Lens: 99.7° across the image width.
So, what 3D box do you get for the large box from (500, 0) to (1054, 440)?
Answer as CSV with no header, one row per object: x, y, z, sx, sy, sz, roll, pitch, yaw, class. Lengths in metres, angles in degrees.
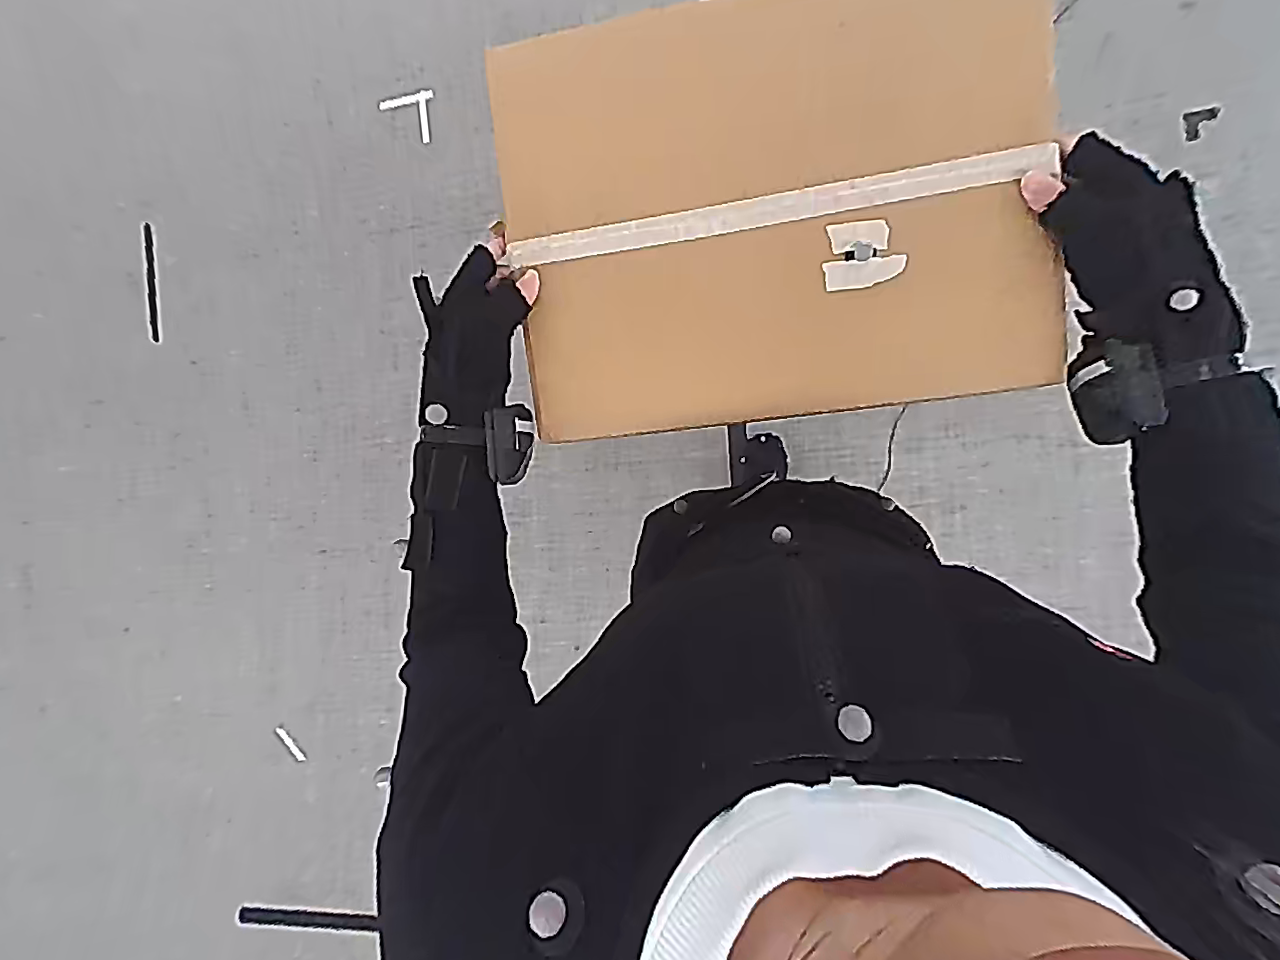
0.118,-0.227,0.570,0.408,0.320,0.320,-7,97,8,large box
